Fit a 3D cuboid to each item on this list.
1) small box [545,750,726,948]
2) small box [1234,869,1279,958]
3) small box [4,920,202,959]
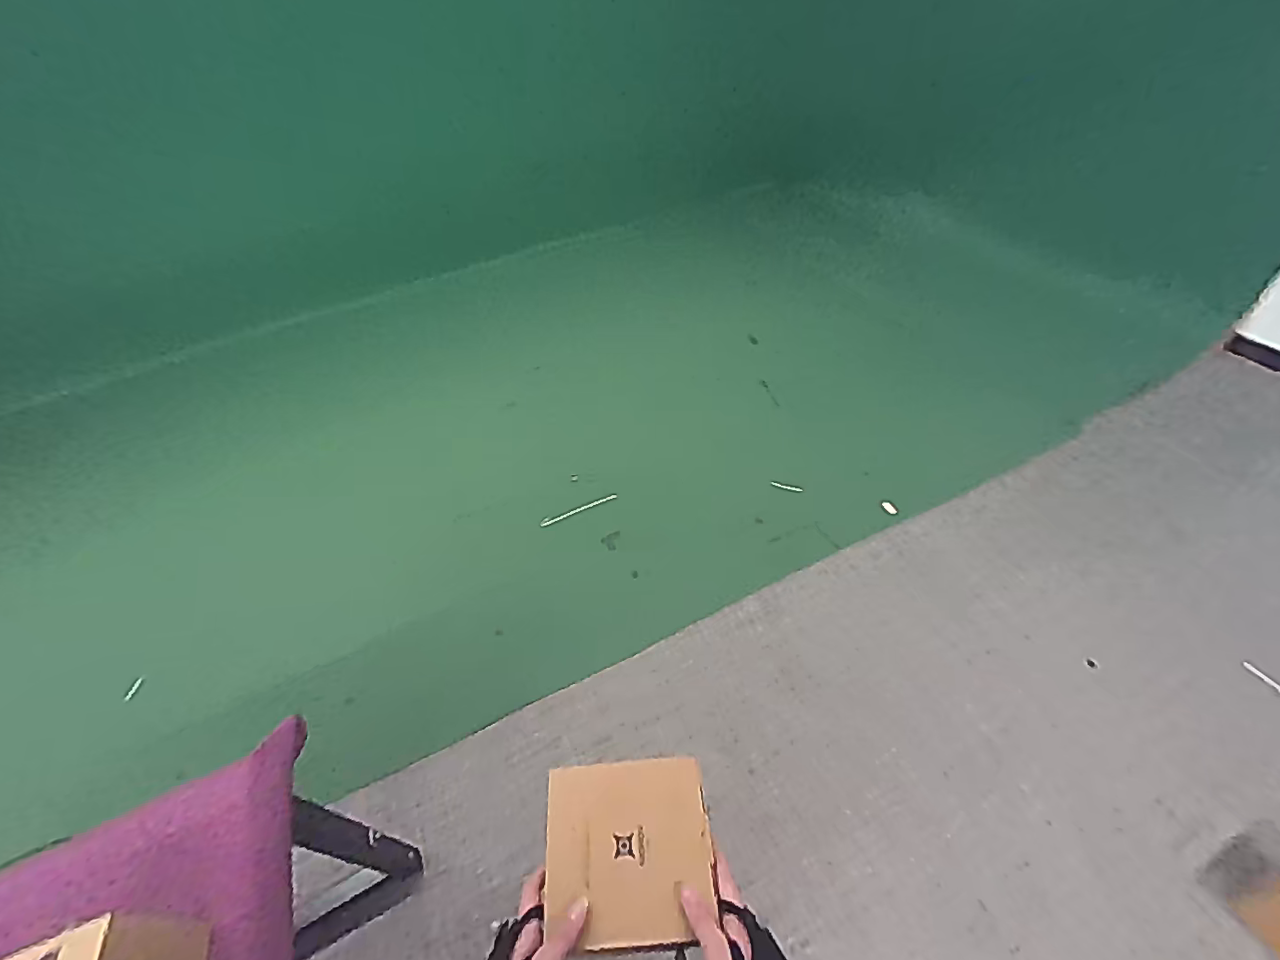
[{"bbox_3d":[-0.002,0.428,0.626,0.179,0.176,0.168,-5,47,1],"label":"small box"},{"bbox_3d":[1.366,0.889,1.068,0.168,0.176,0.179,-23,49,-14],"label":"small box"},{"bbox_3d":[-0.638,0.631,0.602,0.168,0.176,0.179,-20,48,-9],"label":"small box"}]
